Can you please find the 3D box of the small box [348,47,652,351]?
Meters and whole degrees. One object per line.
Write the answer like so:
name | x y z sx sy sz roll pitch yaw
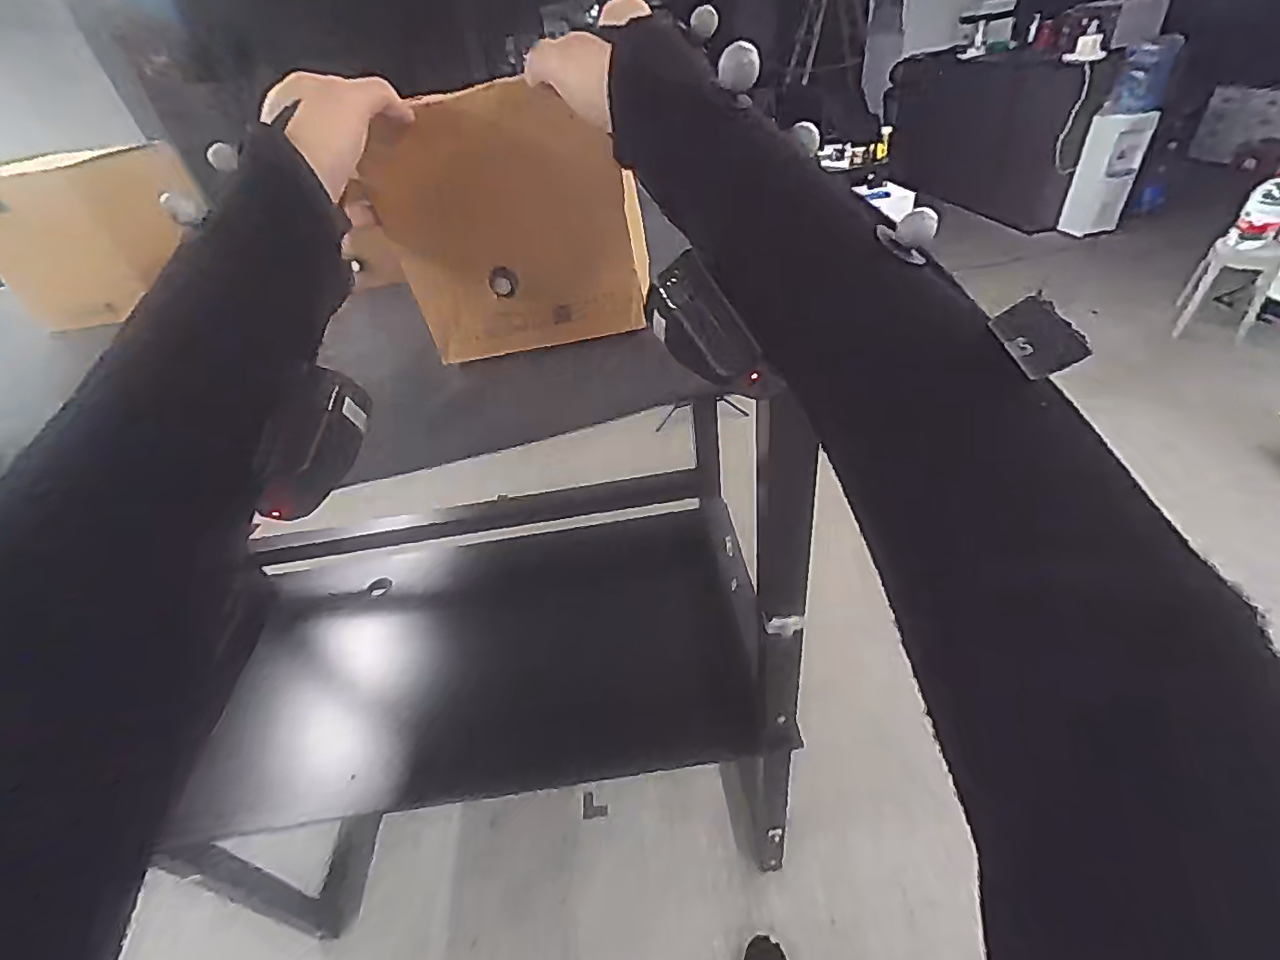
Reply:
small box | -0.086 -0.223 0.436 0.168 0.176 0.179 -9 37 7

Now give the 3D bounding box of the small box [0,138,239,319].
small box | -0.668 -0.323 0.694 0.168 0.176 0.179 -6 39 4

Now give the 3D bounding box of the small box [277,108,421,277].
small box | -0.293 -0.363 0.669 0.168 0.176 0.179 -10 38 -1
